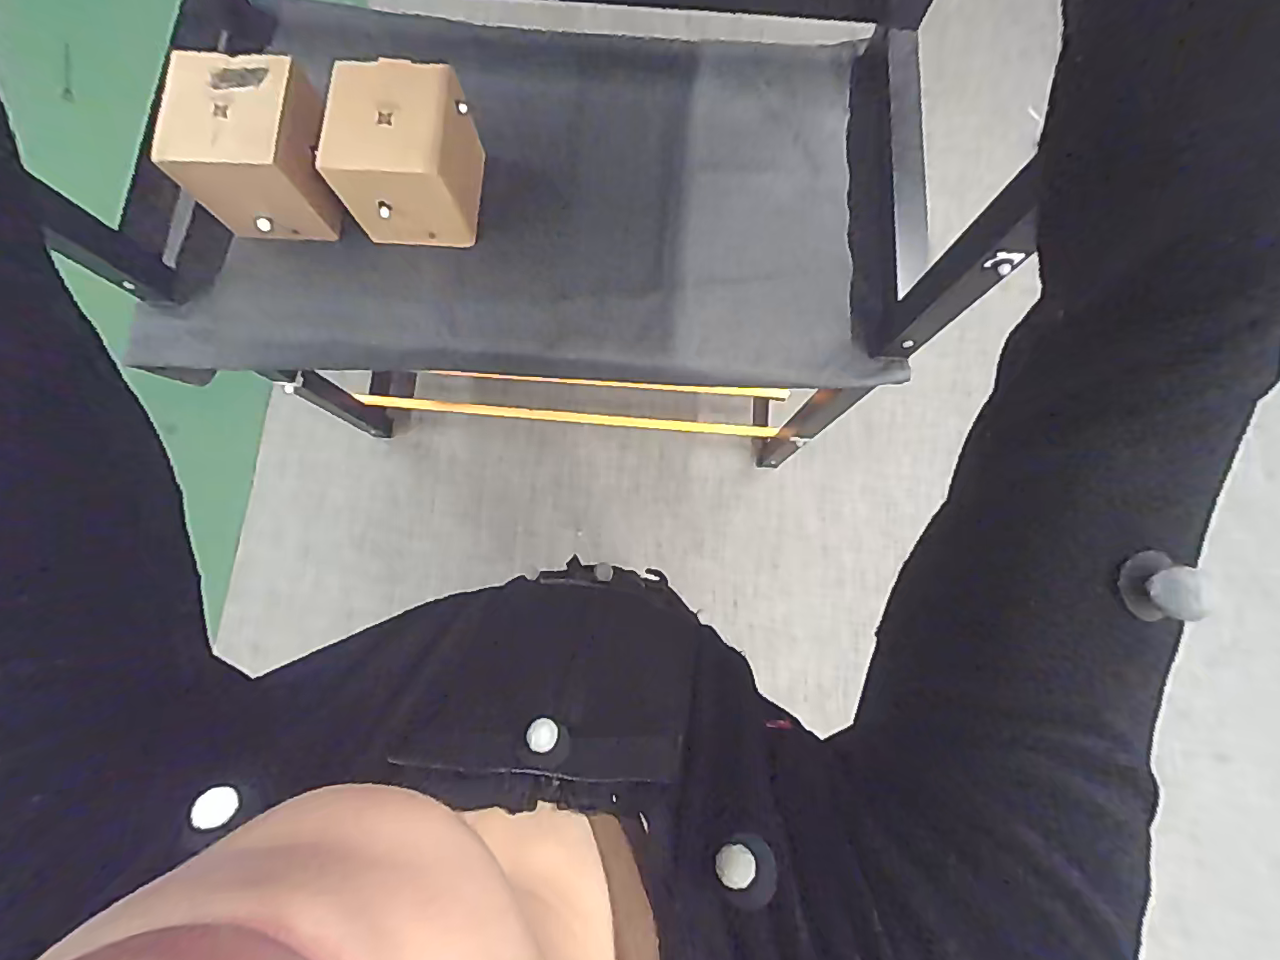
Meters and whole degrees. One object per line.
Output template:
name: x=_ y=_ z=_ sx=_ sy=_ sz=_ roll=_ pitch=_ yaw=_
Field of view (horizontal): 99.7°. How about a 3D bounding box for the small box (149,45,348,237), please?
small box: x=-0.564 y=-0.495 z=0.806 sx=0.168 sy=0.176 sz=0.179 roll=2 pitch=80 yaw=0
